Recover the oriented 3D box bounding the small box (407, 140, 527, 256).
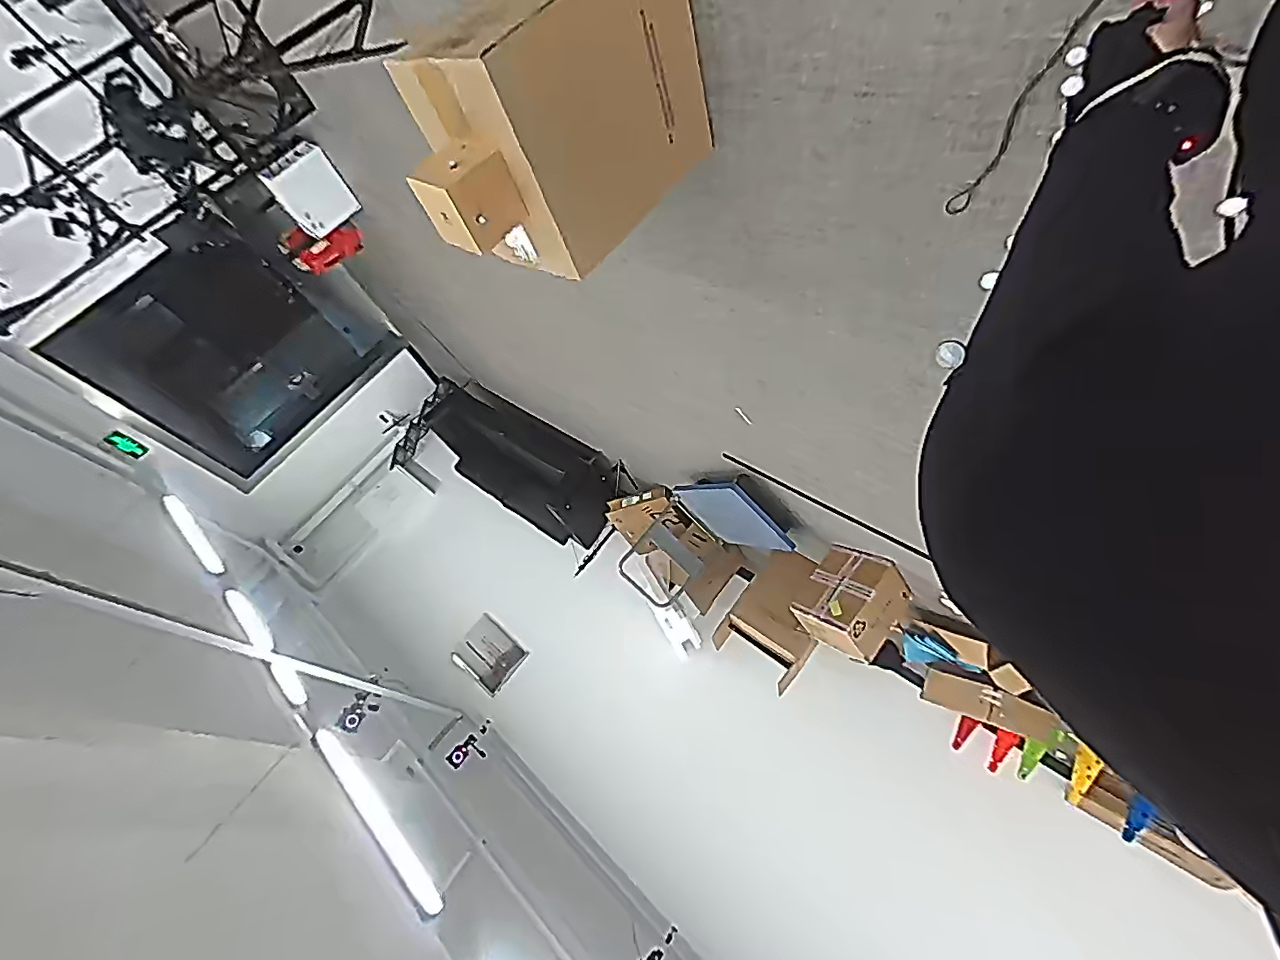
[{"bbox_3d":[-0.408,-0.680,1.298,0.168,0.176,0.179,30,163,29],"label":"small box"}]
